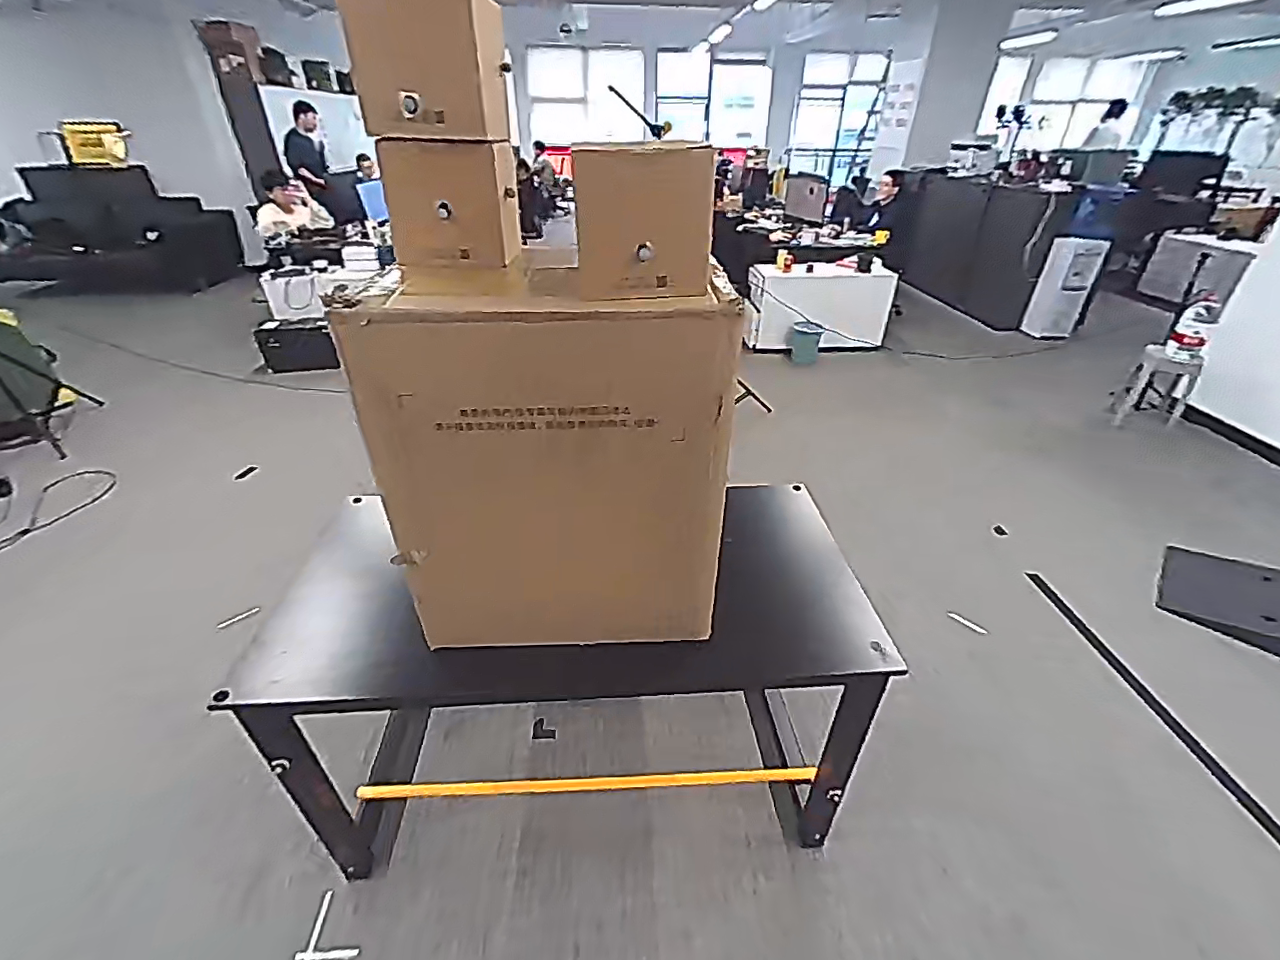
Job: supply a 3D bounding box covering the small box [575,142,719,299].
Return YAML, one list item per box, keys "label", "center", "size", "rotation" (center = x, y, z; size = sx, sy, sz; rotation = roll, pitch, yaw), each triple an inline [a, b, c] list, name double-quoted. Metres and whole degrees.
- label: "small box"
  center: [0.002, -0.347, 0.719]
  size: [0.168, 0.176, 0.179]
  rotation: [-4, 35, -4]

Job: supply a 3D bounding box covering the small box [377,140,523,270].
- label: "small box"
  center: [-0.281, -0.434, 0.849]
  size: [0.168, 0.176, 0.179]
  rotation: [0, 33, -3]

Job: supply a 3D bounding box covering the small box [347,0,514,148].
- label: "small box"
  center: [-0.275, -0.563, 0.747]
  size: [0.168, 0.176, 0.179]
  rotation: [0, 33, -1]
